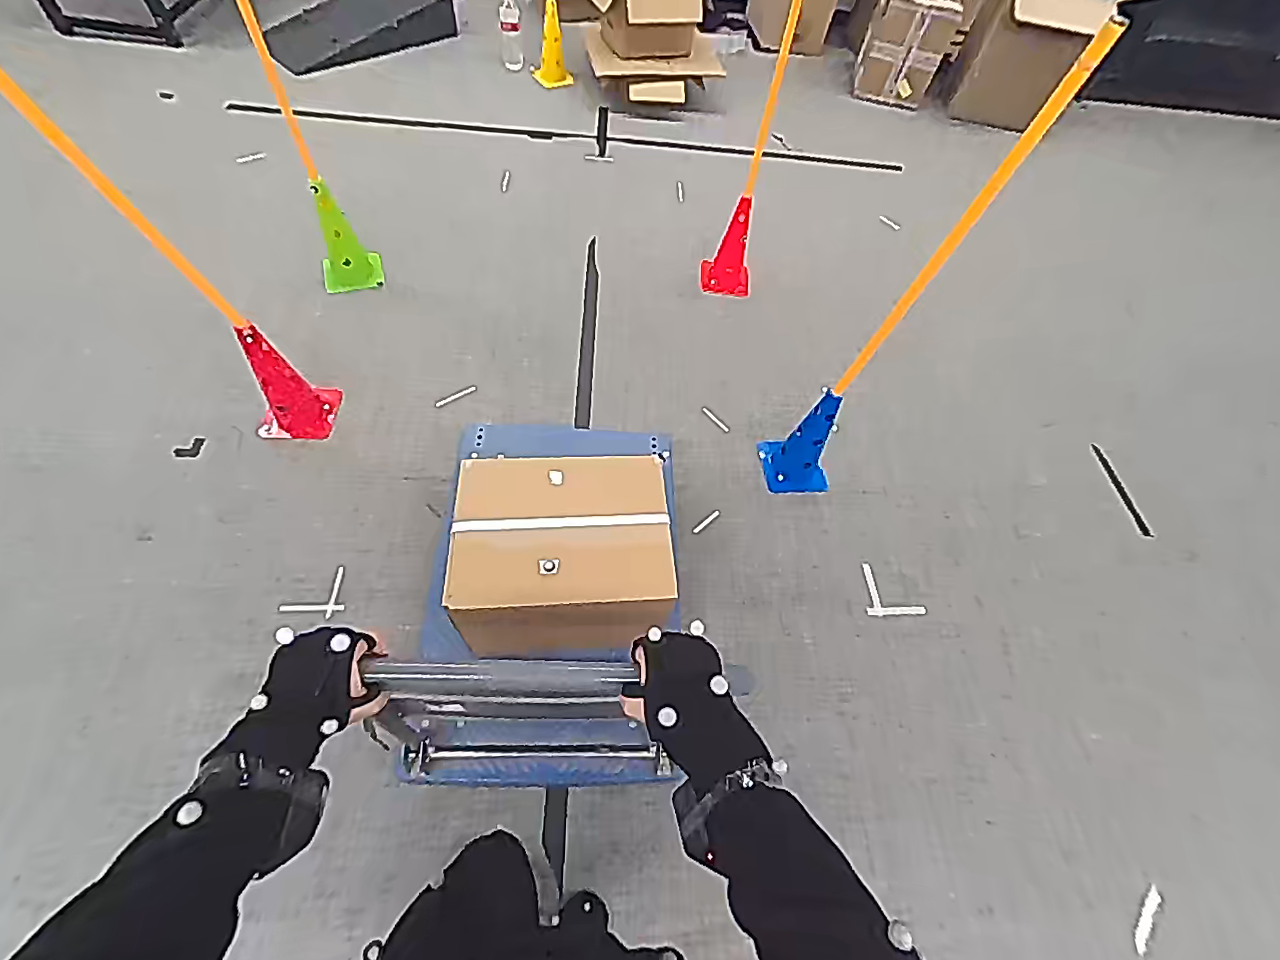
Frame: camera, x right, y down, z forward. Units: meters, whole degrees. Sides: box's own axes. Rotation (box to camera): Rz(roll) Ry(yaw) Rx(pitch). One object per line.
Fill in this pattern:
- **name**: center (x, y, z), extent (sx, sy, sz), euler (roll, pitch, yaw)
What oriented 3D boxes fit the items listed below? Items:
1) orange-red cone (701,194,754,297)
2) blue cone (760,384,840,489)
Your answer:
- **orange-red cone**: center (0.371, -0.917, 2.069), extent (0.199, 0.360, 0.198), euler (8, 58, -3)
- **blue cone**: center (0.511, -0.139, 1.615), extent (0.193, 0.380, 0.192), euler (-1, 57, -8)
